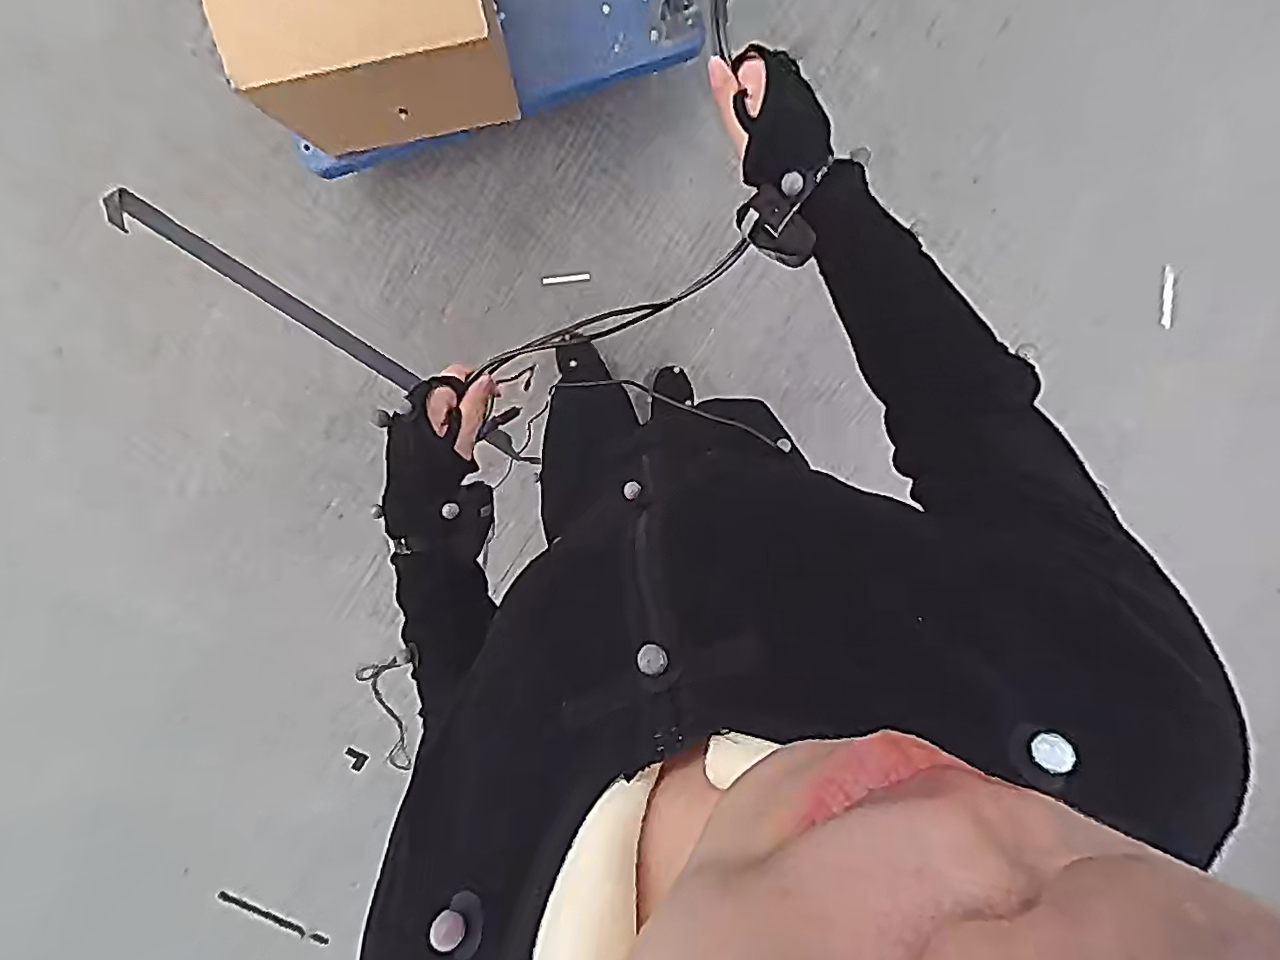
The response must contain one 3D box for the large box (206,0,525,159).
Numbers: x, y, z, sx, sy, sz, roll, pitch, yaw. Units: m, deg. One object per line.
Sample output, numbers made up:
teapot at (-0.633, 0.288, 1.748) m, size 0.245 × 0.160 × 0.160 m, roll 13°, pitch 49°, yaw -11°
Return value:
large box at (-0.452, -0.802, 0.929) m, size 0.408 × 0.320 × 0.320 m, roll -12°, pitch 104°, yaw 0°
